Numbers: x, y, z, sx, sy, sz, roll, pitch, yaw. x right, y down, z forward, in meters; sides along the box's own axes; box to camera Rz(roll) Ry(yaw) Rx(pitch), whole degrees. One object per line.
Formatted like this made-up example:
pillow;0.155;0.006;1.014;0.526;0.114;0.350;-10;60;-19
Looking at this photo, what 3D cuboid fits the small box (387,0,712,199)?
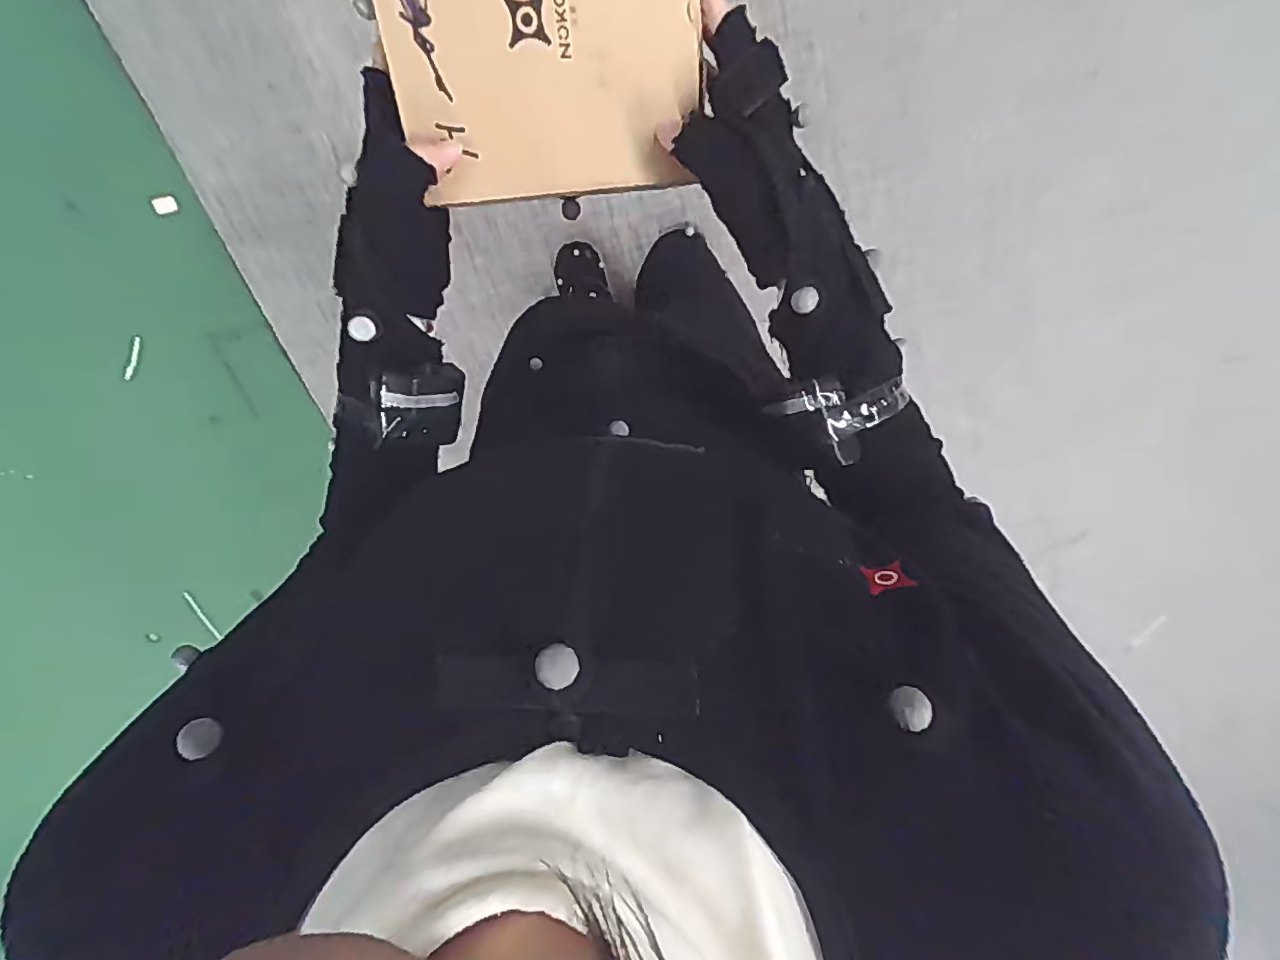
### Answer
small box;-0.056;-0.288;0.365;0.179;0.176;0.168;-7;116;-4
